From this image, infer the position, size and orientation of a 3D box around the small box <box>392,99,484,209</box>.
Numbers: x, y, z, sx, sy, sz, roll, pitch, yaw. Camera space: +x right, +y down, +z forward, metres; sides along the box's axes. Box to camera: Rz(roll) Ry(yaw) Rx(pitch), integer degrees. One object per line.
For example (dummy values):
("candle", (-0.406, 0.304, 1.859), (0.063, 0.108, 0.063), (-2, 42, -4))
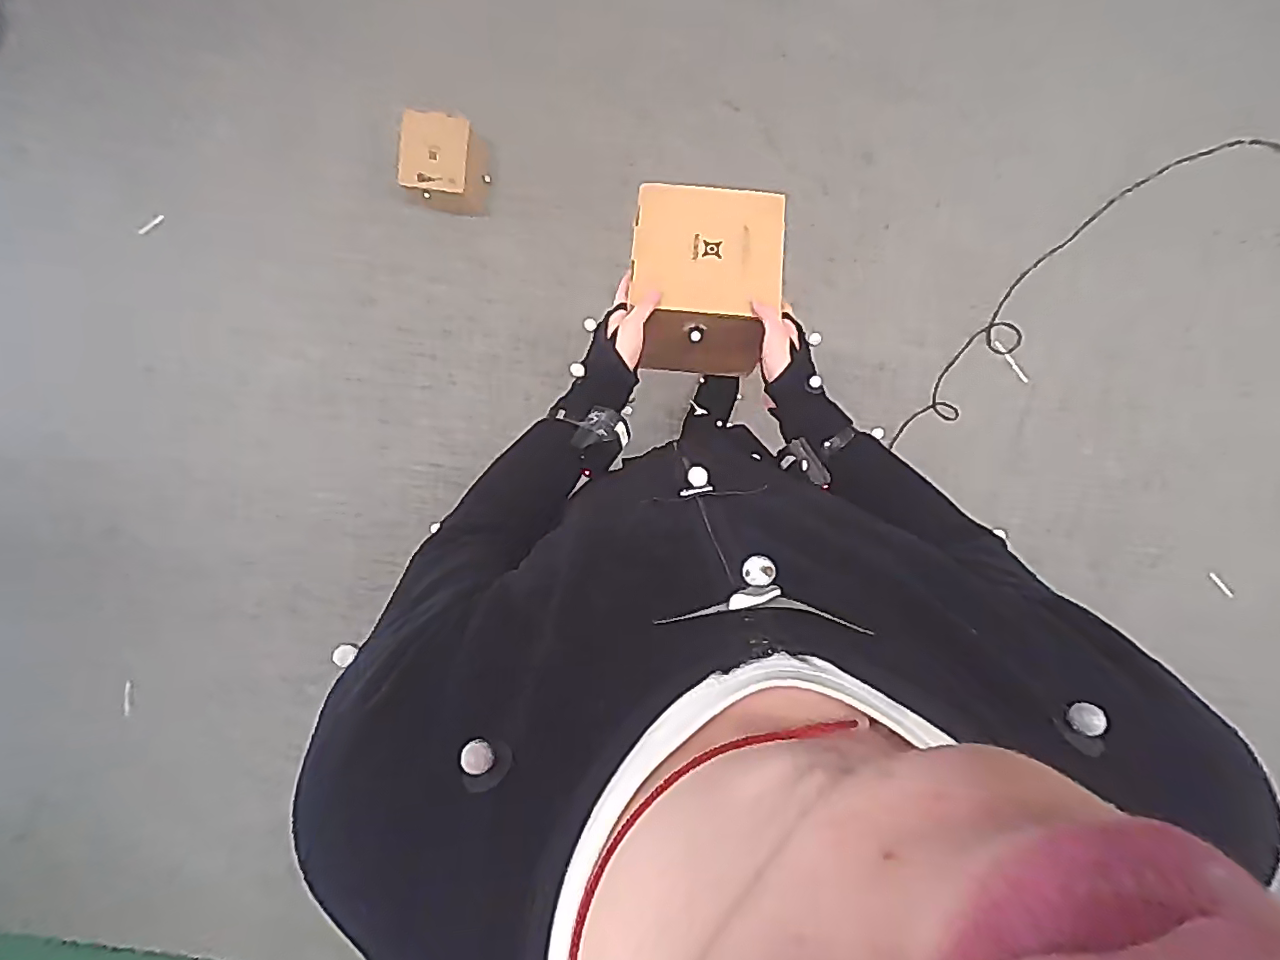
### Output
("small box", (-0.508, -0.826, 1.383), (0.168, 0.176, 0.179), (9, 97, 0))

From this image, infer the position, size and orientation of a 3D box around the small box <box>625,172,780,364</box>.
("small box", (0.073, -0.263, 0.704), (0.179, 0.176, 0.168), (4, 79, -2))
